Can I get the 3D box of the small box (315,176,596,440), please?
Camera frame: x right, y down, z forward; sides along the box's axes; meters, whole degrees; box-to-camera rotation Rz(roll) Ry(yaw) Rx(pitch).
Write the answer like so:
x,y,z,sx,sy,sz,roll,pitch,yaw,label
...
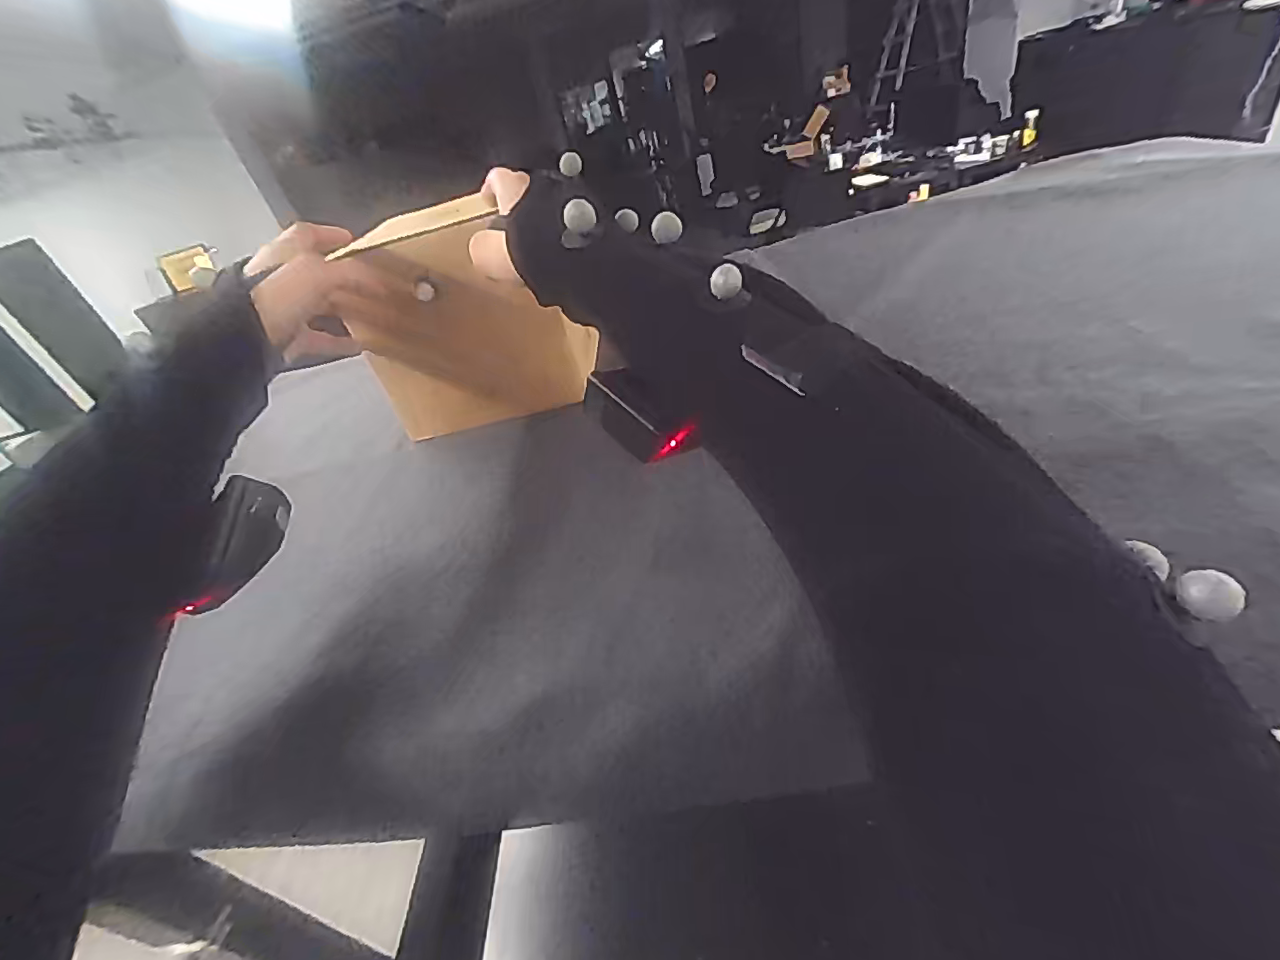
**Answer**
x,y,z,sx,sy,sz,roll,pitch,yaw,label
-0.147,-0.161,0.511,0.179,0.176,0.168,-12,36,8,small box
